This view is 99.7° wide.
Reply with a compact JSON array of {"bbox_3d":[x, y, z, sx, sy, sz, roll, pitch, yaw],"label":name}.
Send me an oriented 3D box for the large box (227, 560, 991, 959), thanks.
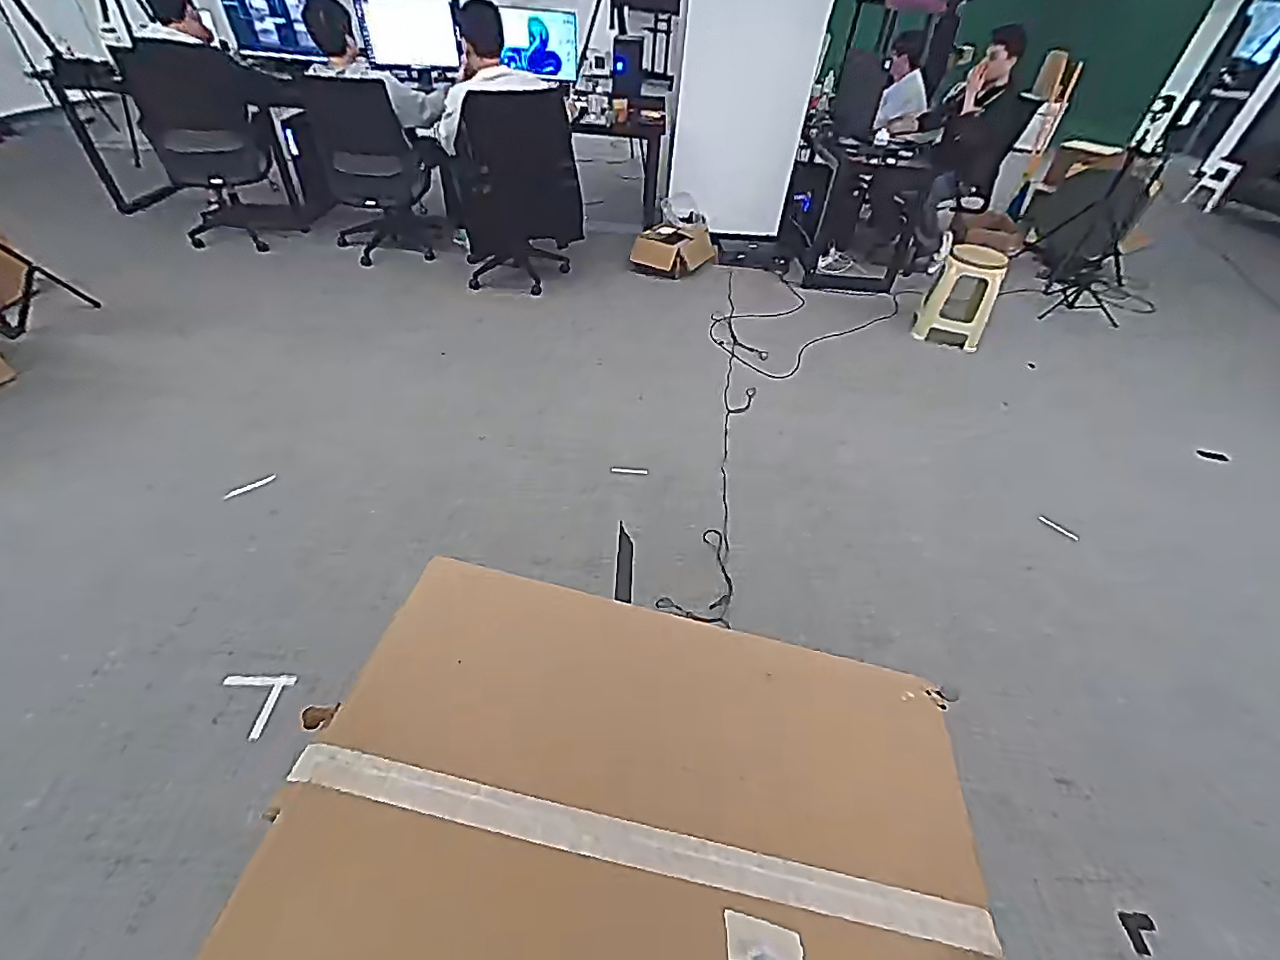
[{"bbox_3d":[-0.016,0.316,0.428,0.408,0.320,0.320,15,44,0],"label":"large box"}]
